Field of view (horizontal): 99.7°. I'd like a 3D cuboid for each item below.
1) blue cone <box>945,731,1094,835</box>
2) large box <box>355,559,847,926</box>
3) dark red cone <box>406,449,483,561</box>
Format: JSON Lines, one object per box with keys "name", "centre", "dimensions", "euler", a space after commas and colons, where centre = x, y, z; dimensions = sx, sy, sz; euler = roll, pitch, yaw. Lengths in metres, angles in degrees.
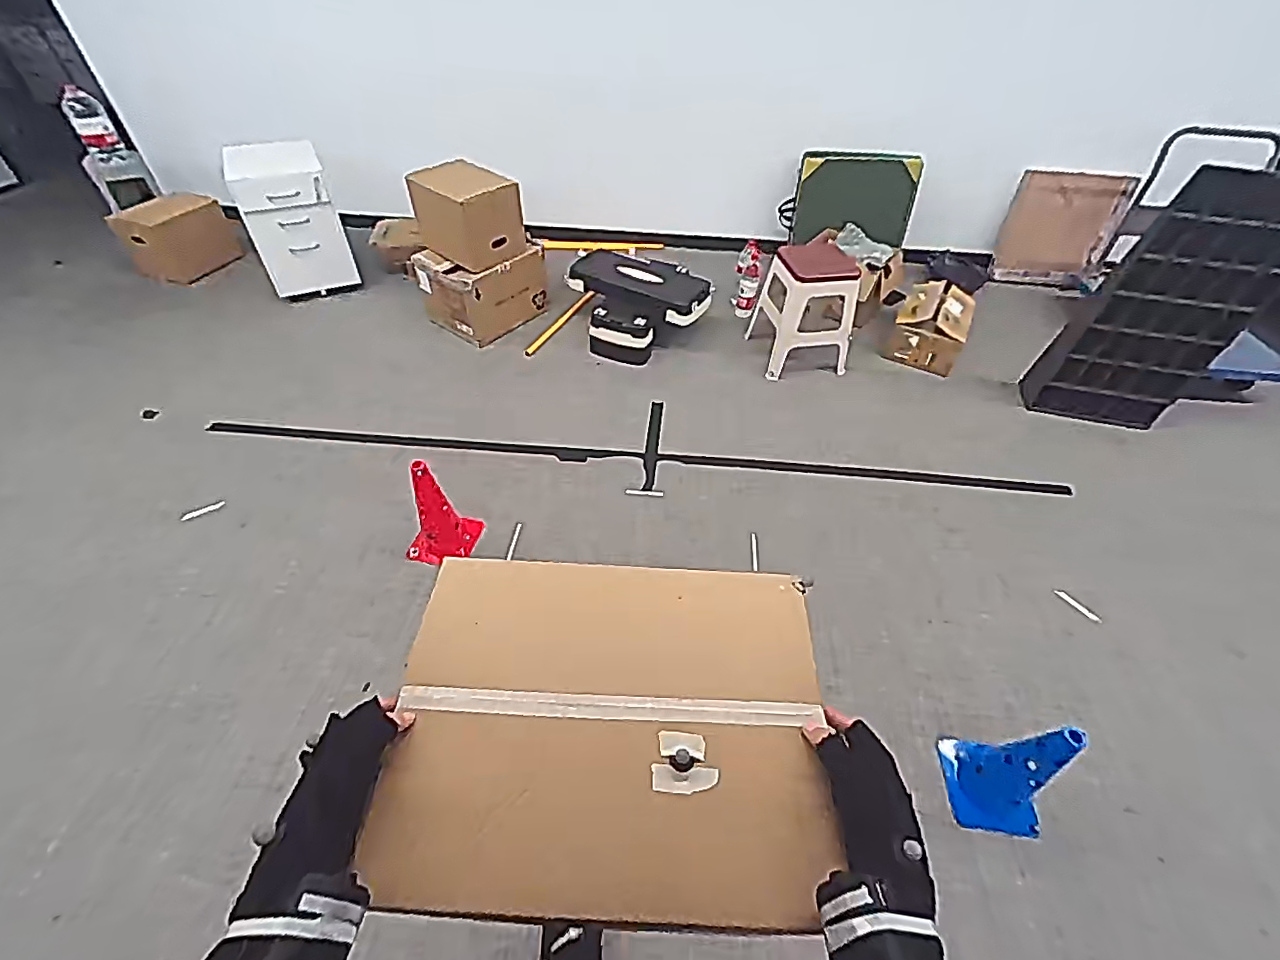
{"name": "blue cone", "centre": [0.872, 0.648, 1.218], "dimensions": [0.192, 0.380, 0.193], "euler": [8, 47, 4]}
{"name": "large box", "centre": [-0.033, 0.314, 0.637], "dimensions": [0.408, 0.320, 0.320], "euler": [4, 50, 0]}
{"name": "dark red cone", "centre": [-0.630, 0.061, 1.655], "dimensions": [0.201, 0.394, 0.202], "euler": [10, 47, 6]}
